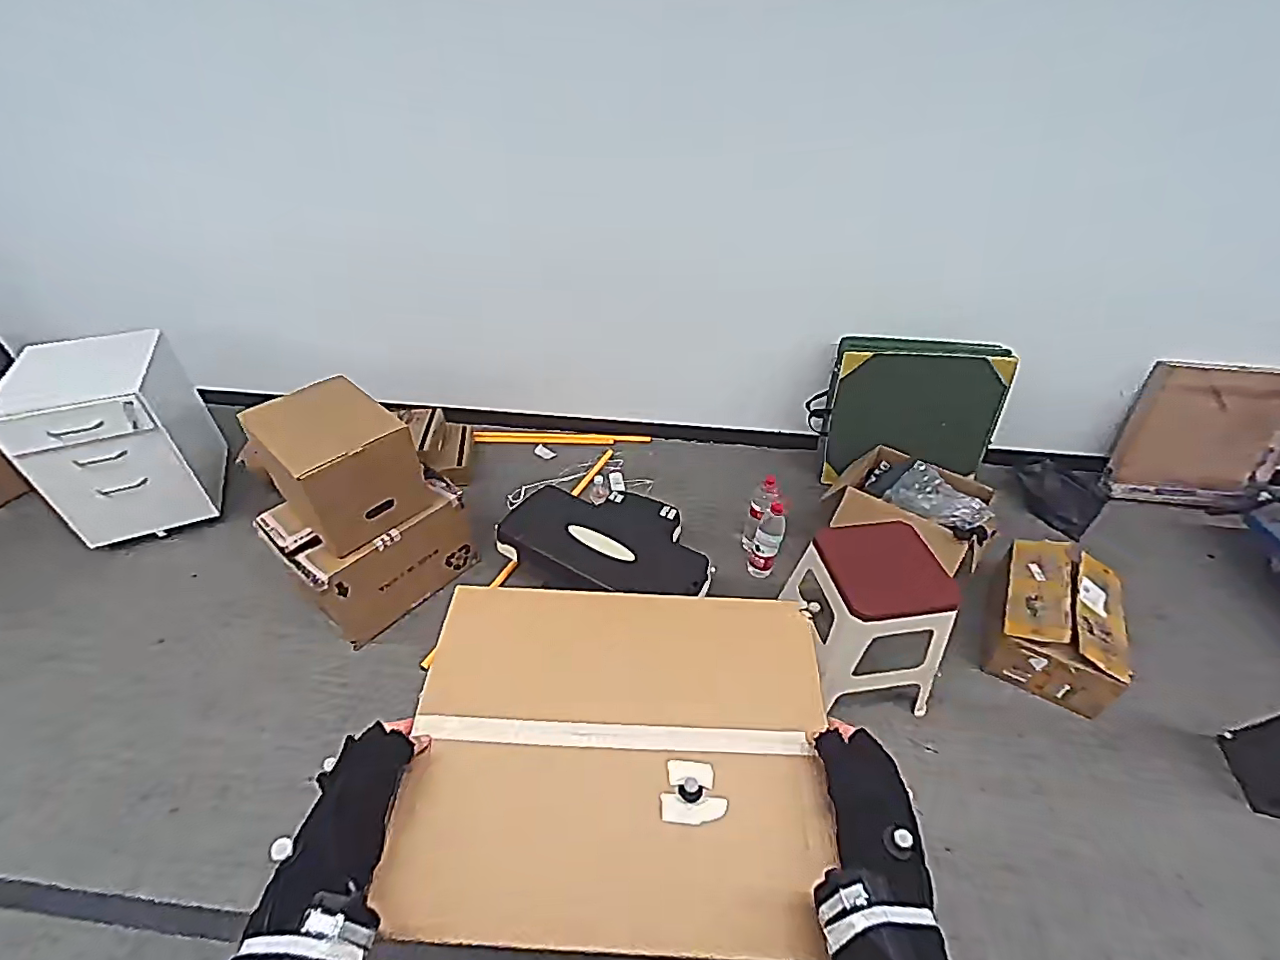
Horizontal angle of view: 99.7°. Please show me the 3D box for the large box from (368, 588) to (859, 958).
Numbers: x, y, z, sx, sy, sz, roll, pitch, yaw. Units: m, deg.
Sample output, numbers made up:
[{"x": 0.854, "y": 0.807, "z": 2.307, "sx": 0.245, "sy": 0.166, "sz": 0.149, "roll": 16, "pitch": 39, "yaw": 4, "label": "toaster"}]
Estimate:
[{"x": -0.021, "y": 0.347, "z": 0.638, "sx": 0.408, "sy": 0.320, "sz": 0.320, "roll": 3, "pitch": 48, "yaw": 1, "label": "large box"}]
